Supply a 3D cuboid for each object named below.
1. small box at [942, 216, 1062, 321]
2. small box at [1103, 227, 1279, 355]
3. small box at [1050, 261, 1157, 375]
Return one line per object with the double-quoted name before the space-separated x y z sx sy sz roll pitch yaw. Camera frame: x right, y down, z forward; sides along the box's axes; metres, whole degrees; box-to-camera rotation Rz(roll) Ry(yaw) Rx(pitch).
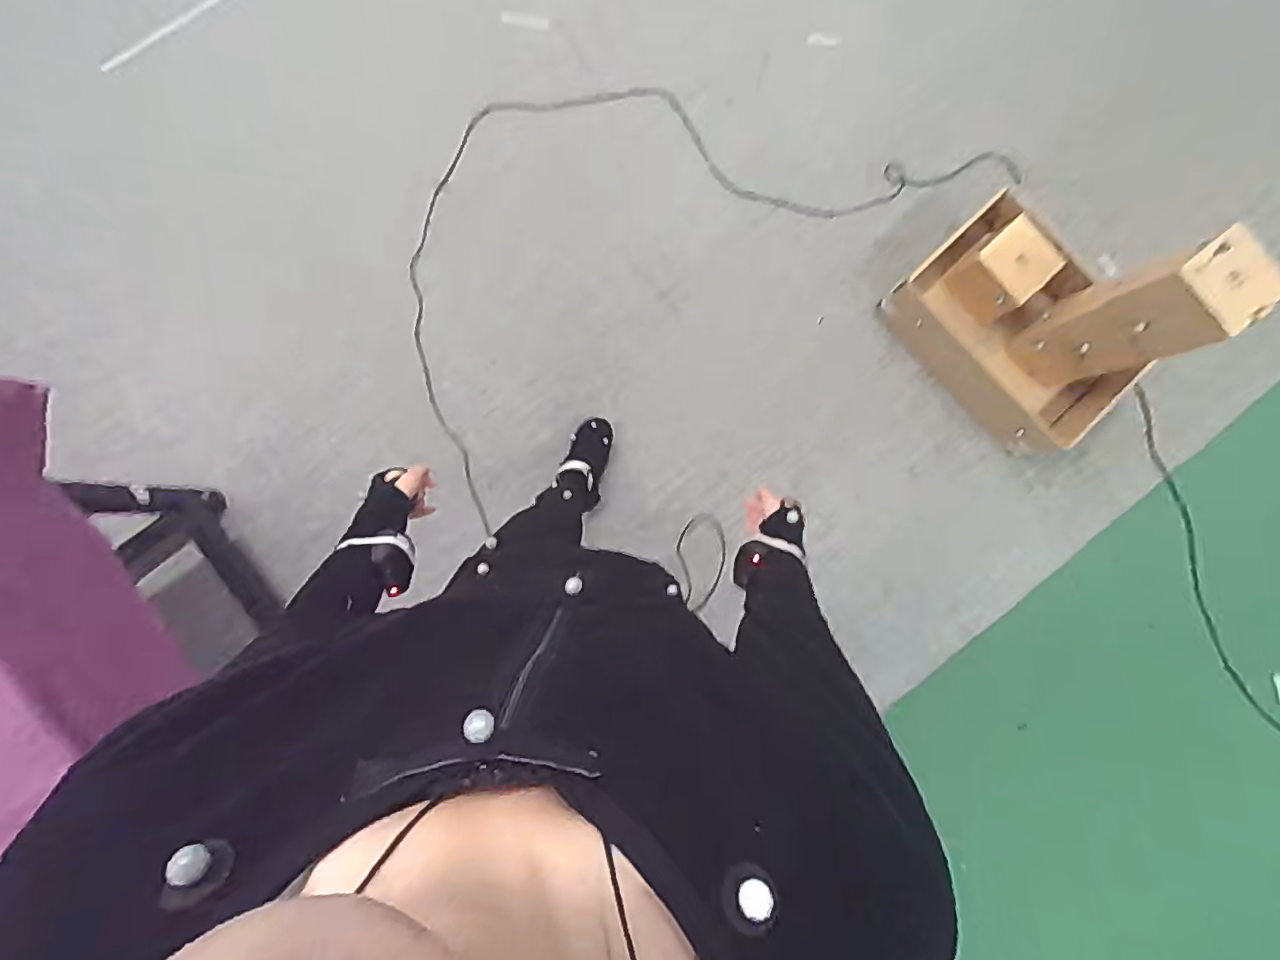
"small box" 0.973 -0.564 1.472 0.168 0.176 0.179 -42 92 -3
"small box" 1.157 -0.383 1.144 0.168 0.176 0.179 -37 90 -4
"small box" 1.160 -0.384 1.310 0.179 0.176 0.168 -41 90 -3
